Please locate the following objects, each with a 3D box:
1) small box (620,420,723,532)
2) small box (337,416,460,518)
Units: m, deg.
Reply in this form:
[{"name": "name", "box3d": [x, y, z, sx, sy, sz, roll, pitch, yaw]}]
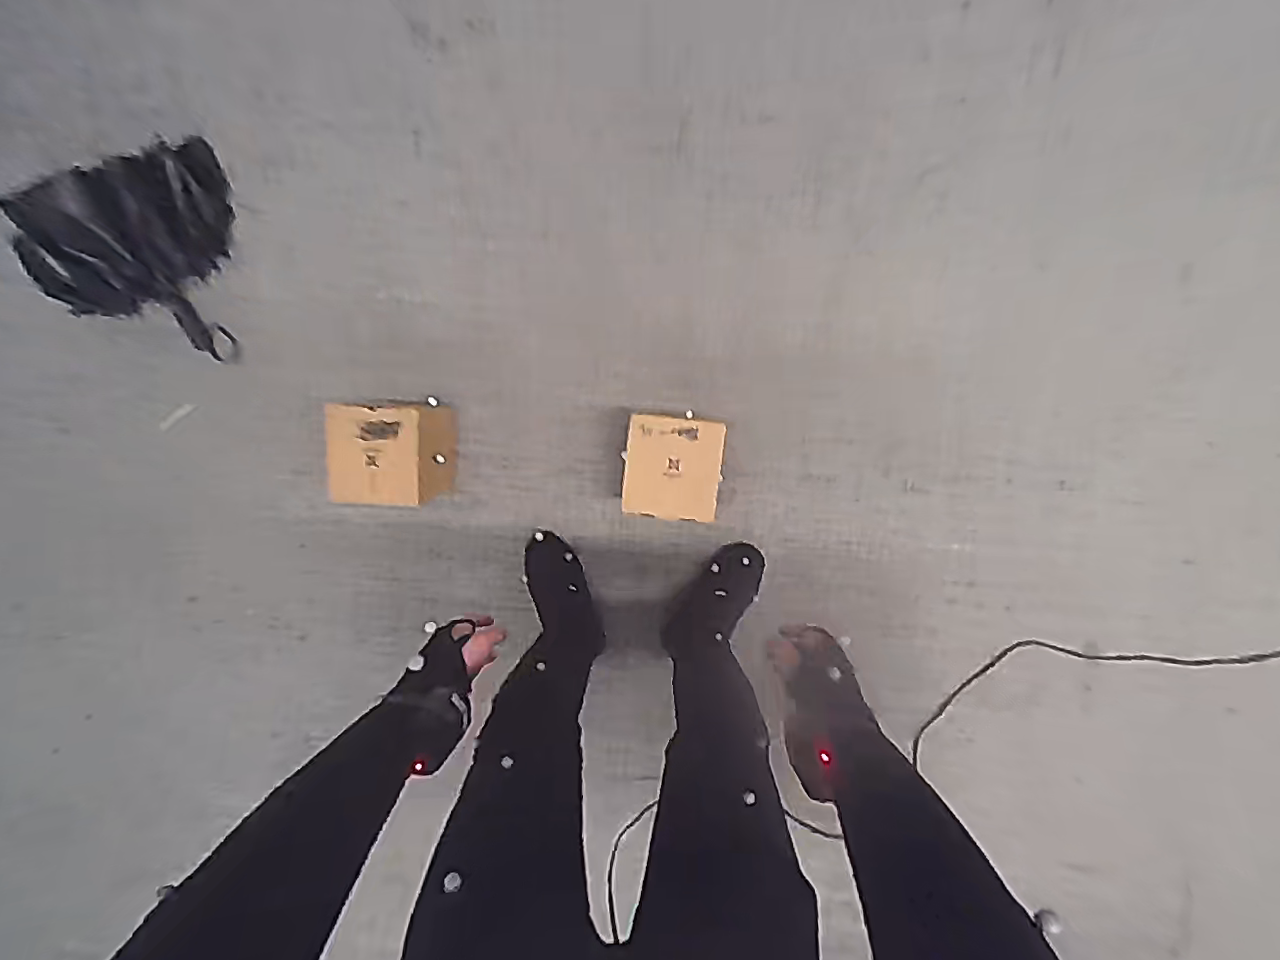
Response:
[{"name": "small box", "box3d": [0.060, -0.015, 1.025, 0.168, 0.176, 0.179, 6, 100, 3]}, {"name": "small box", "box3d": [-0.462, -0.033, 1.055, 0.168, 0.176, 0.179, 3, 100, 3]}]
